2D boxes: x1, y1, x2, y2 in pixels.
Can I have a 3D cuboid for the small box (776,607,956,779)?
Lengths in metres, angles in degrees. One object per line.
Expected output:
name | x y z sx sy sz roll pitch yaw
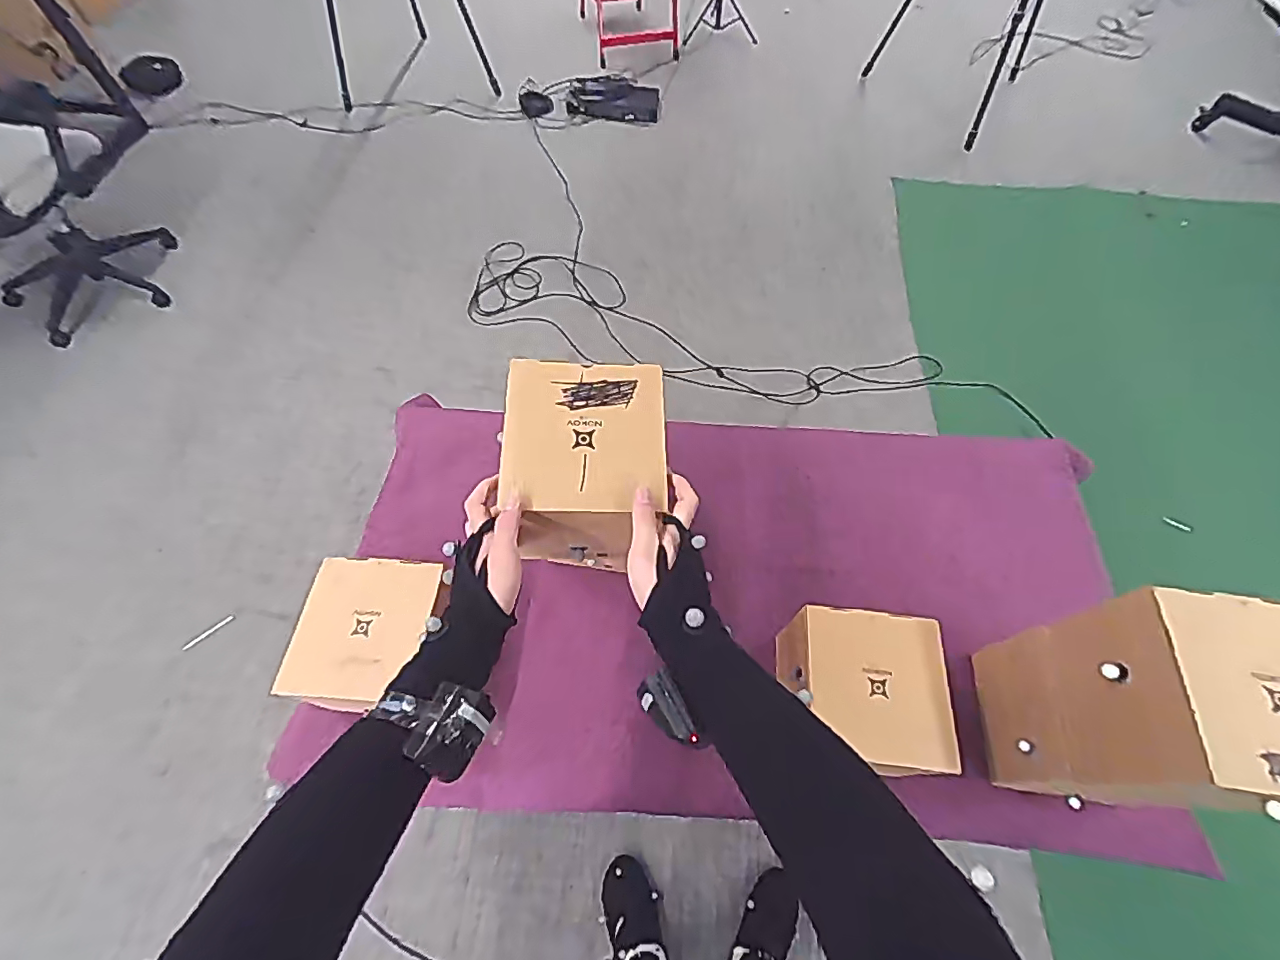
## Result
small box | 0.278 0.284 0.708 0.168 0.176 0.179 5 59 4

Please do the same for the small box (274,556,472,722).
small box | -0.344 0.222 0.743 0.168 0.176 0.179 4 60 3

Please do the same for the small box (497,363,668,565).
small box | -0.062 -0.011 0.620 0.168 0.176 0.179 1 66 -5

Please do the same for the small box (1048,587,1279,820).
small box | 0.559 0.229 0.546 0.168 0.176 0.179 7 60 6
